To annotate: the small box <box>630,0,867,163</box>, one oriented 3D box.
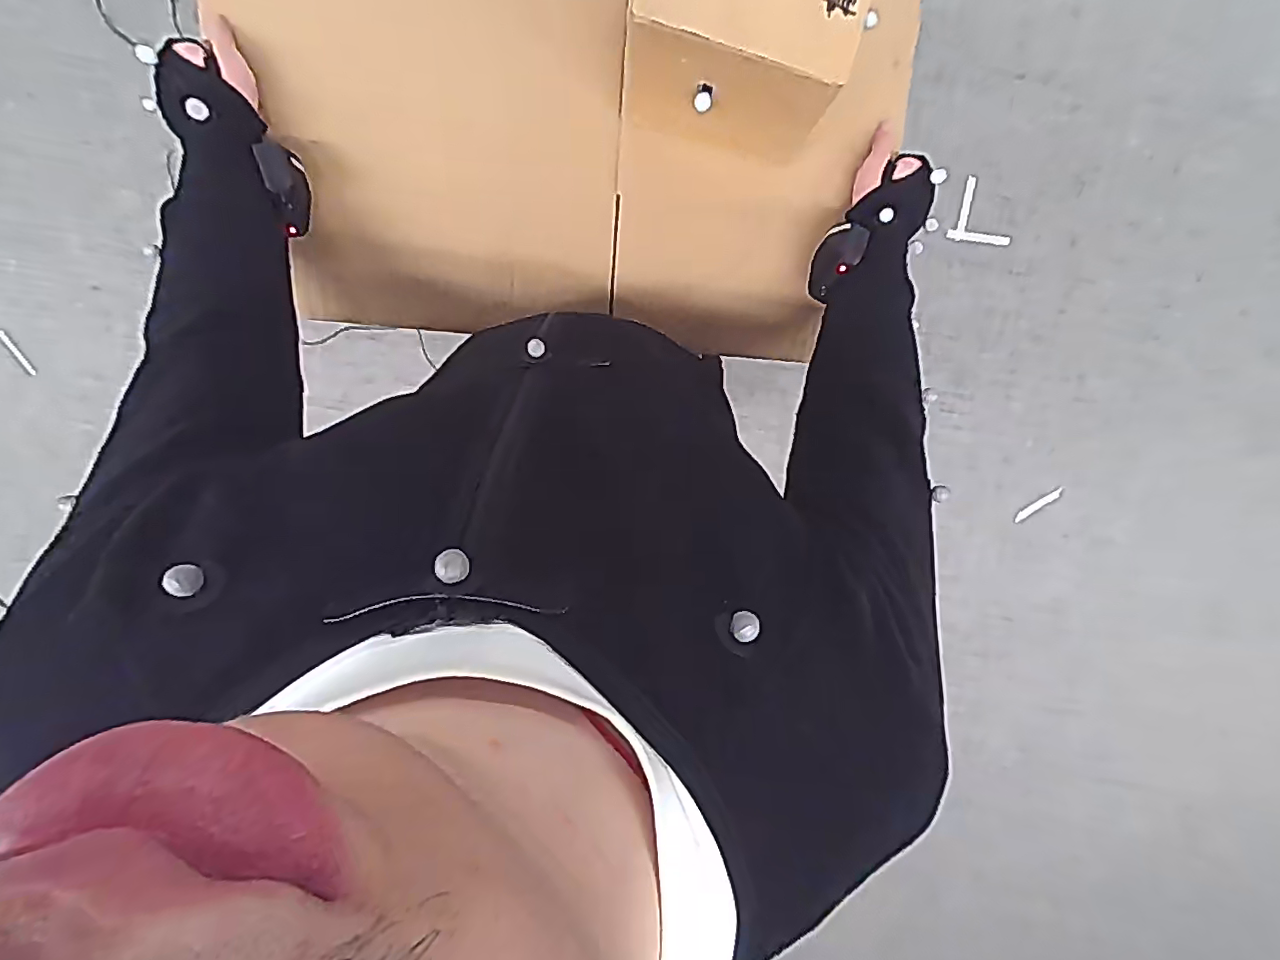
[{"bbox_3d":[0.095,-0.419,0.487,0.179,0.176,0.168,15,99,-3],"label":"small box"}]
